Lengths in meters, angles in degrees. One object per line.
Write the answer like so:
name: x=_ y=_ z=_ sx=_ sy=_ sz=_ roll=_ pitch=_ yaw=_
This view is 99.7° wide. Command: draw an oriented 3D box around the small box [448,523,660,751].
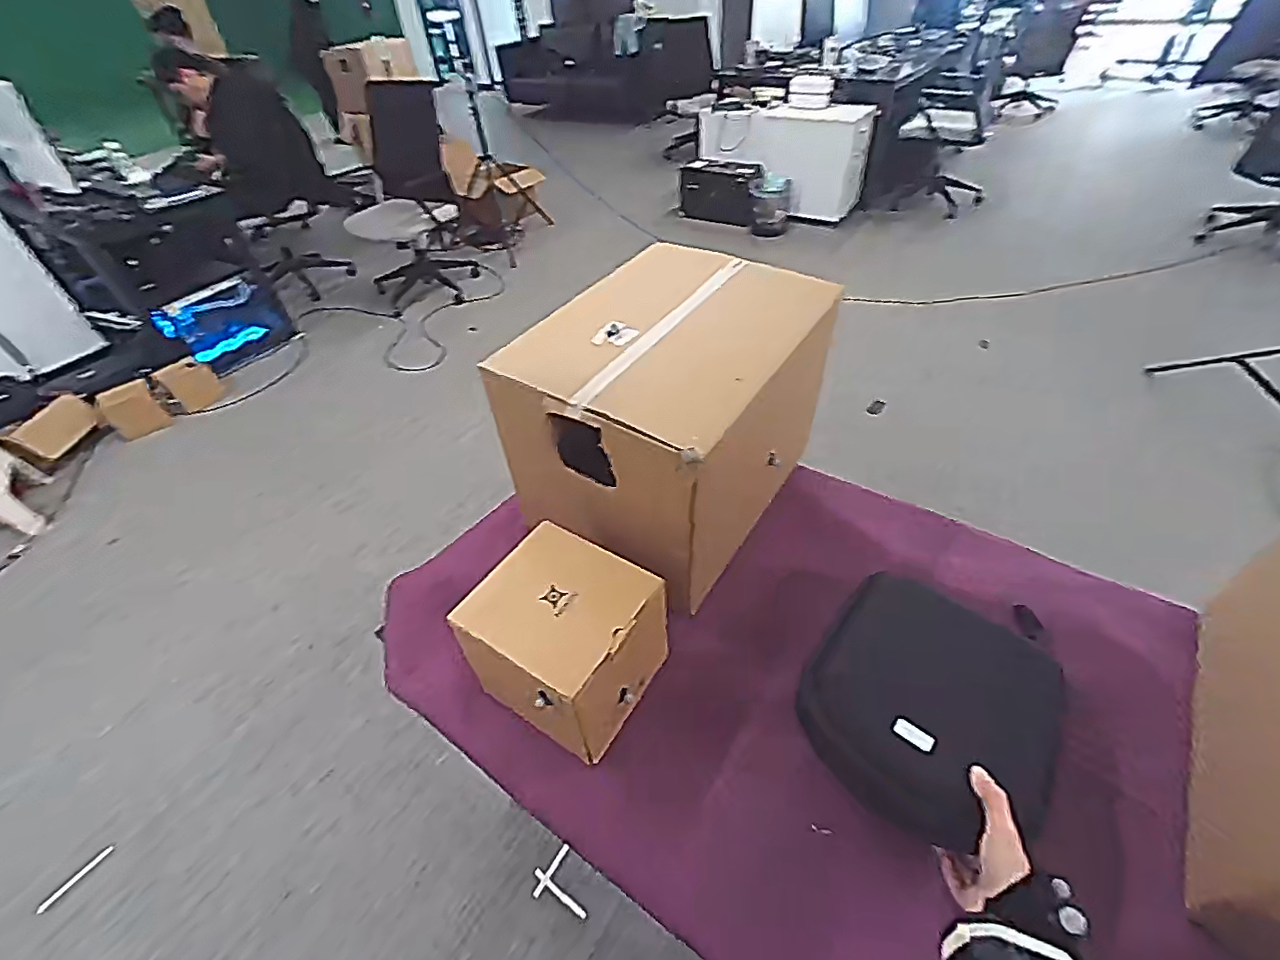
small box: x=-0.091 y=0.187 z=0.646 sx=0.179 sy=0.176 sz=0.168 roll=22 pitch=49 yaw=24

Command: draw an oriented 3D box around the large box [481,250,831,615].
large box: x=0.044 y=-0.088 z=0.813 sx=0.320 sy=0.320 sz=0.408 roll=23 pitch=53 yaw=24
